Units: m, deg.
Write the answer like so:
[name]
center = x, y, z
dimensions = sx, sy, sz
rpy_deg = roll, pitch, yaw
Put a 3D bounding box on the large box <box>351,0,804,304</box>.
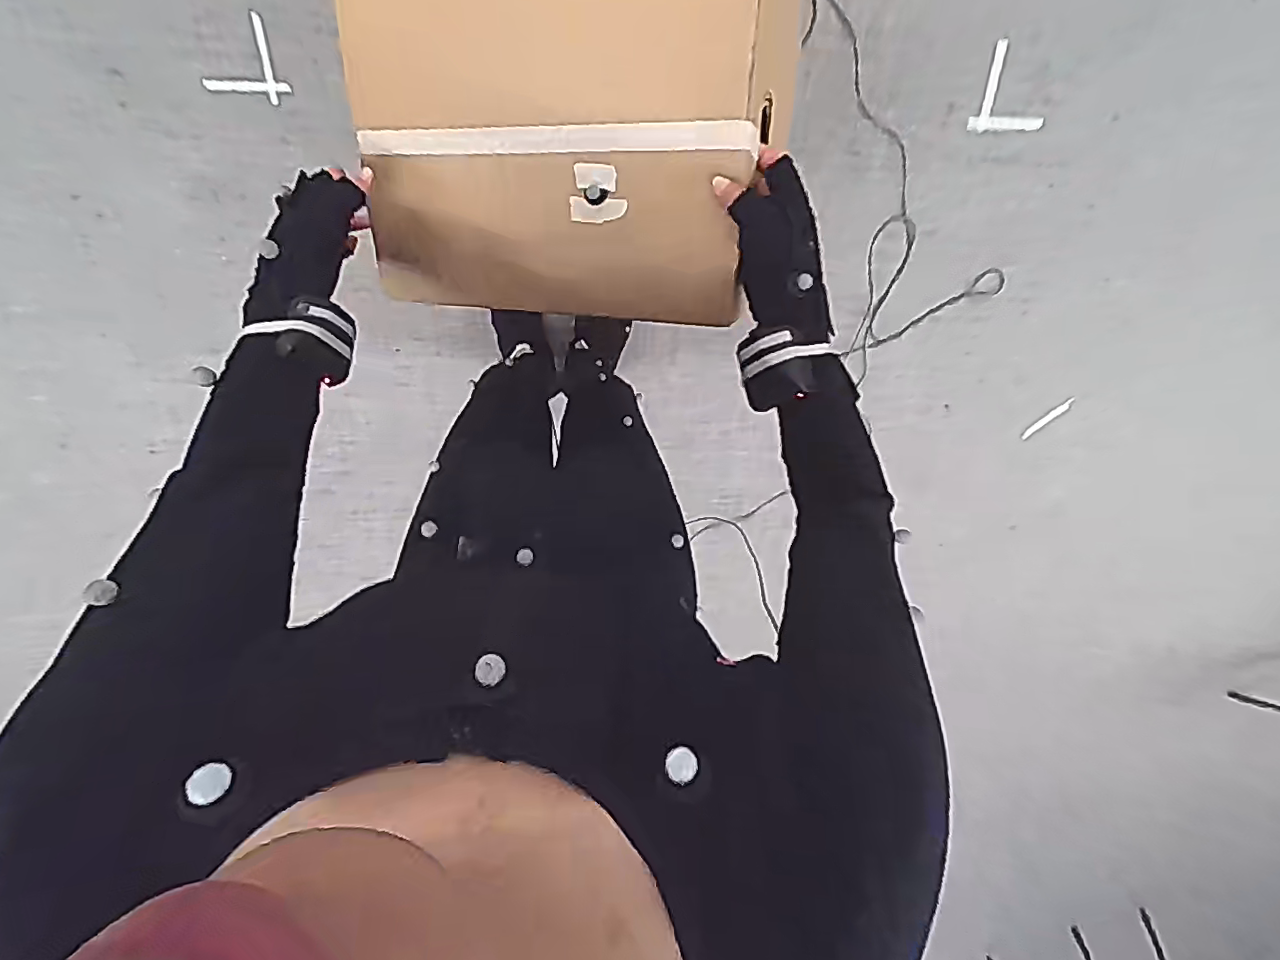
[large box]
center = -0.041, -0.384, 0.624
dimensions = 0.408, 0.320, 0.320
rpy_deg = 8, 116, 15
